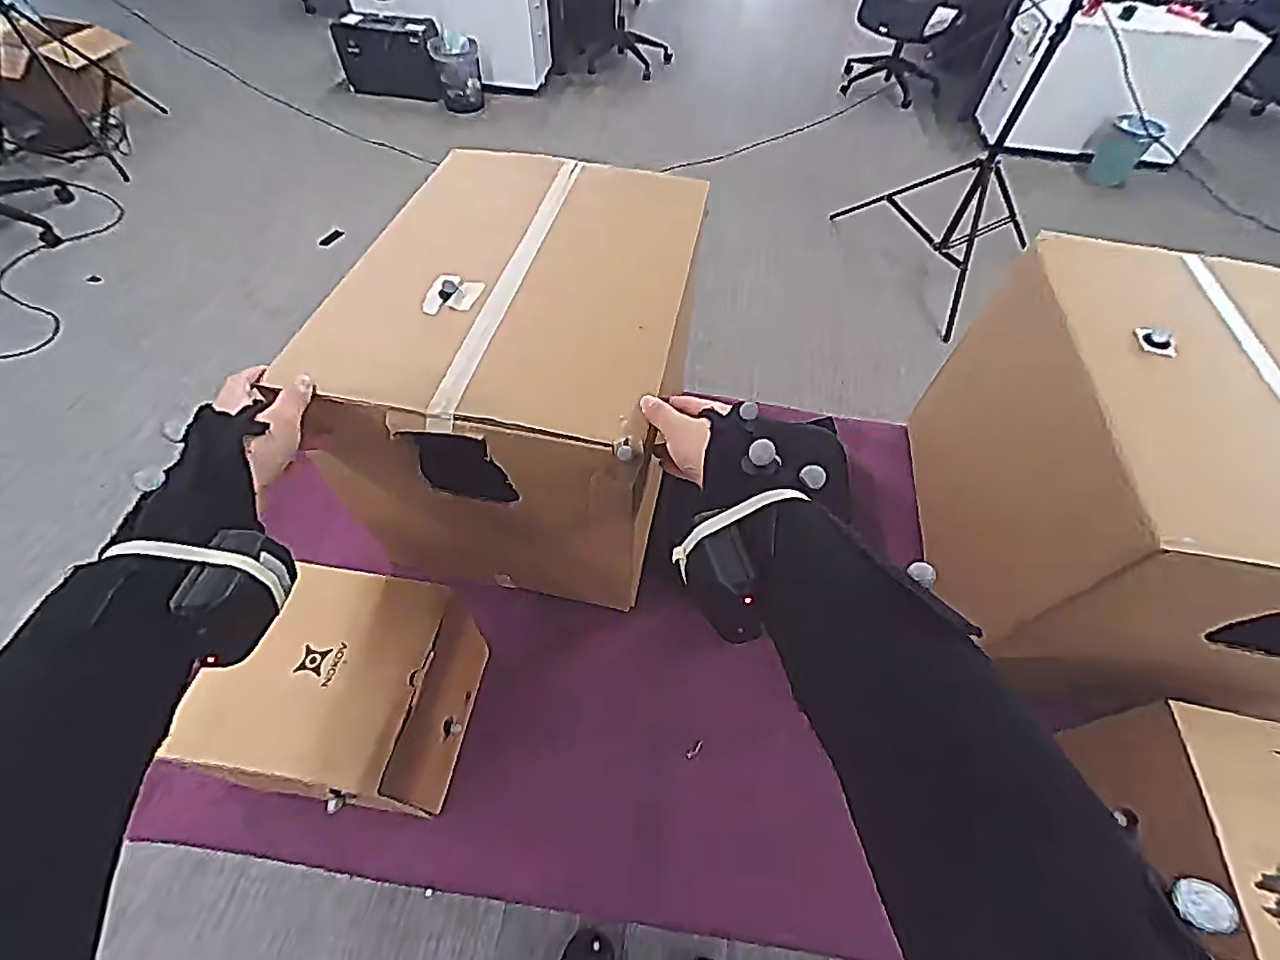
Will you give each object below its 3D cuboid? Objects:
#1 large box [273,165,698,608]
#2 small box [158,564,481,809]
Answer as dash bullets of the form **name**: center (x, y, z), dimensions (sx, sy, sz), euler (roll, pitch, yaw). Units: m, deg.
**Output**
- **large box**: center (-0.120, -0.109, 0.654), dimensions (0.320, 0.320, 0.408), euler (9, 57, 5)
- **small box**: center (-0.270, 0.200, 0.511), dimensions (0.179, 0.176, 0.168), euler (8, 53, 1)
